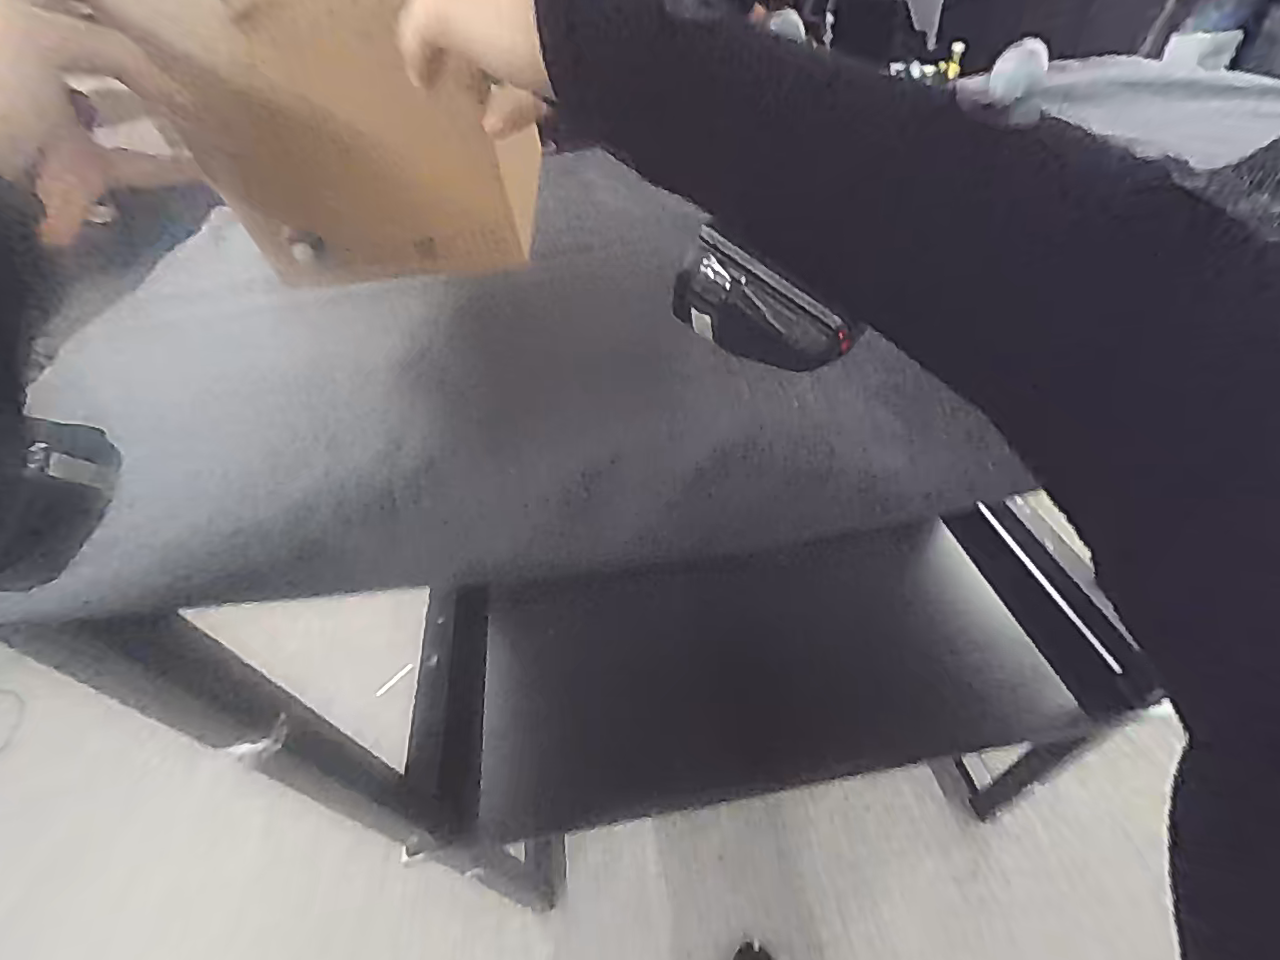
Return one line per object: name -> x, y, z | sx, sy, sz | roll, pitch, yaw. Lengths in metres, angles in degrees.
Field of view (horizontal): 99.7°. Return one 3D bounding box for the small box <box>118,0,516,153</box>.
small box -> -0.173, -0.302, 0.298 | 0.168, 0.176, 0.179 | -5, 54, 2
